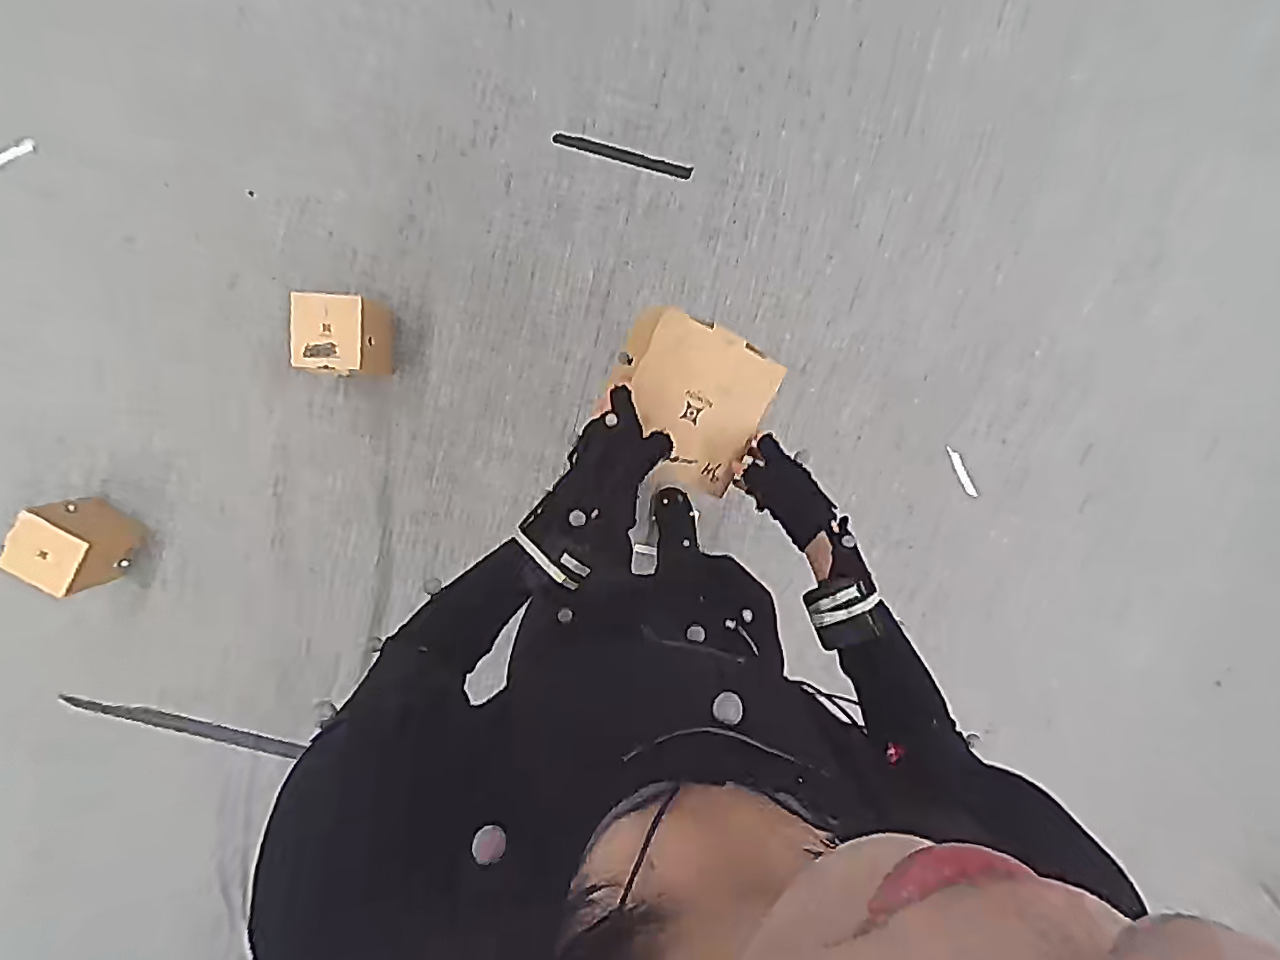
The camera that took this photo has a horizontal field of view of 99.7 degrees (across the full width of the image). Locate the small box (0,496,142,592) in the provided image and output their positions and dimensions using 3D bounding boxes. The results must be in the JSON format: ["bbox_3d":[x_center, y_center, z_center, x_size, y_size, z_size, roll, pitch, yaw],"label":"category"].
[{"bbox_3d":[-1.460,0.154,1.387,0.179,0.176,0.168,31,96,-6],"label":"small box"}]

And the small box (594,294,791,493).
[{"bbox_3d":[0.051,-0.111,0.681,0.168,0.176,0.179,23,99,-15],"label":"small box"}]

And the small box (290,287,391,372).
[{"bbox_3d":[-0.737,-0.367,1.347,0.168,0.176,0.179,4,96,-2],"label":"small box"}]
